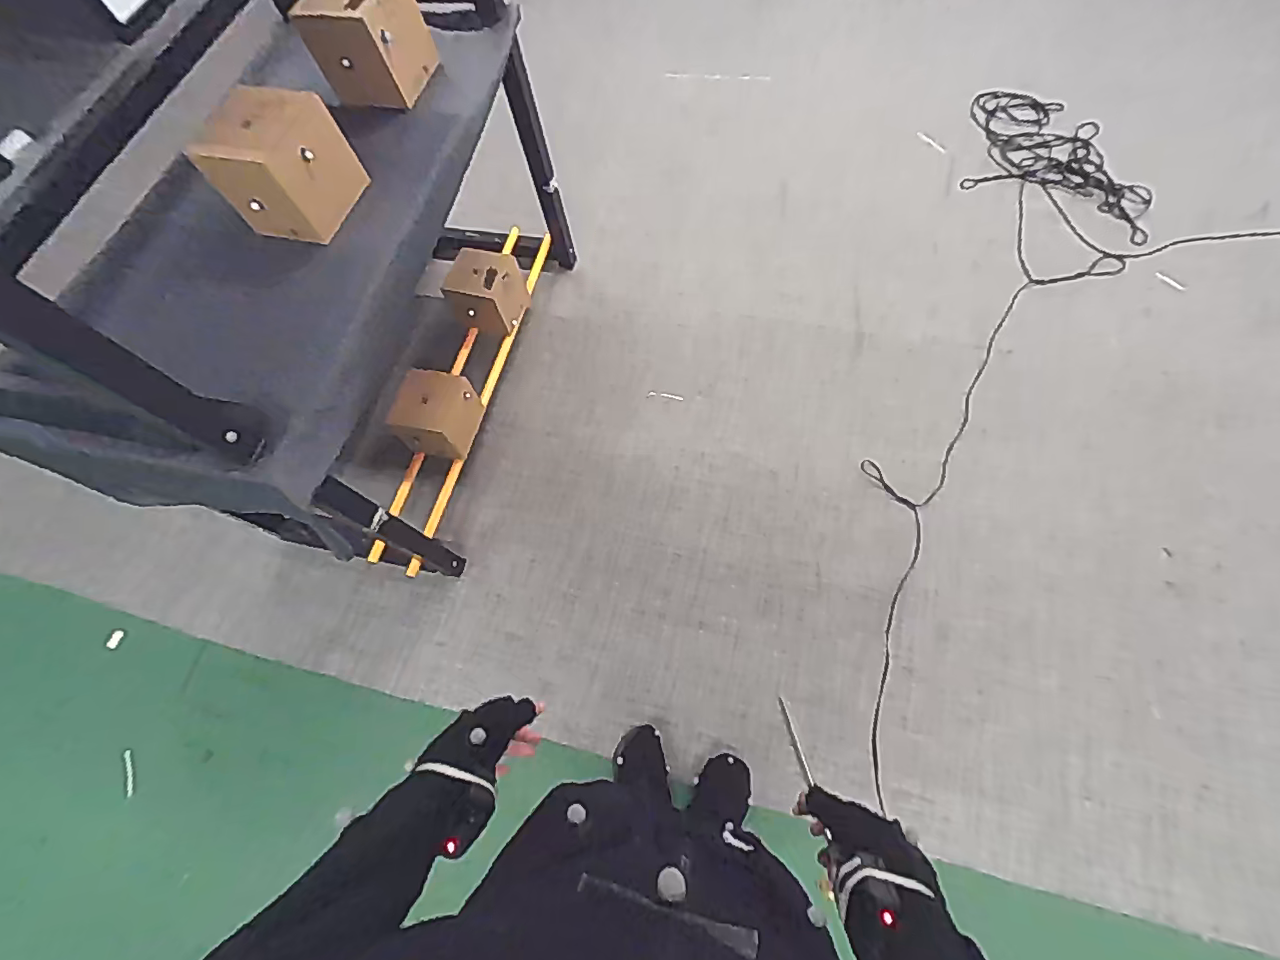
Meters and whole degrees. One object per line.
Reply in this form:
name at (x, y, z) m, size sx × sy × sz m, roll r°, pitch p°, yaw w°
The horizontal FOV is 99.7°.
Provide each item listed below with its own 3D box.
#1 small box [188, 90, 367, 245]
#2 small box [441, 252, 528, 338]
small box at (-0.633, -0.554, 0.970) m, size 0.168 × 0.176 × 0.179 m, roll 13°, pitch 69°, yaw 11°
small box at (-0.459, -0.554, 1.635) m, size 0.179 × 0.176 × 0.168 m, roll 14°, pitch 68°, yaw 11°
